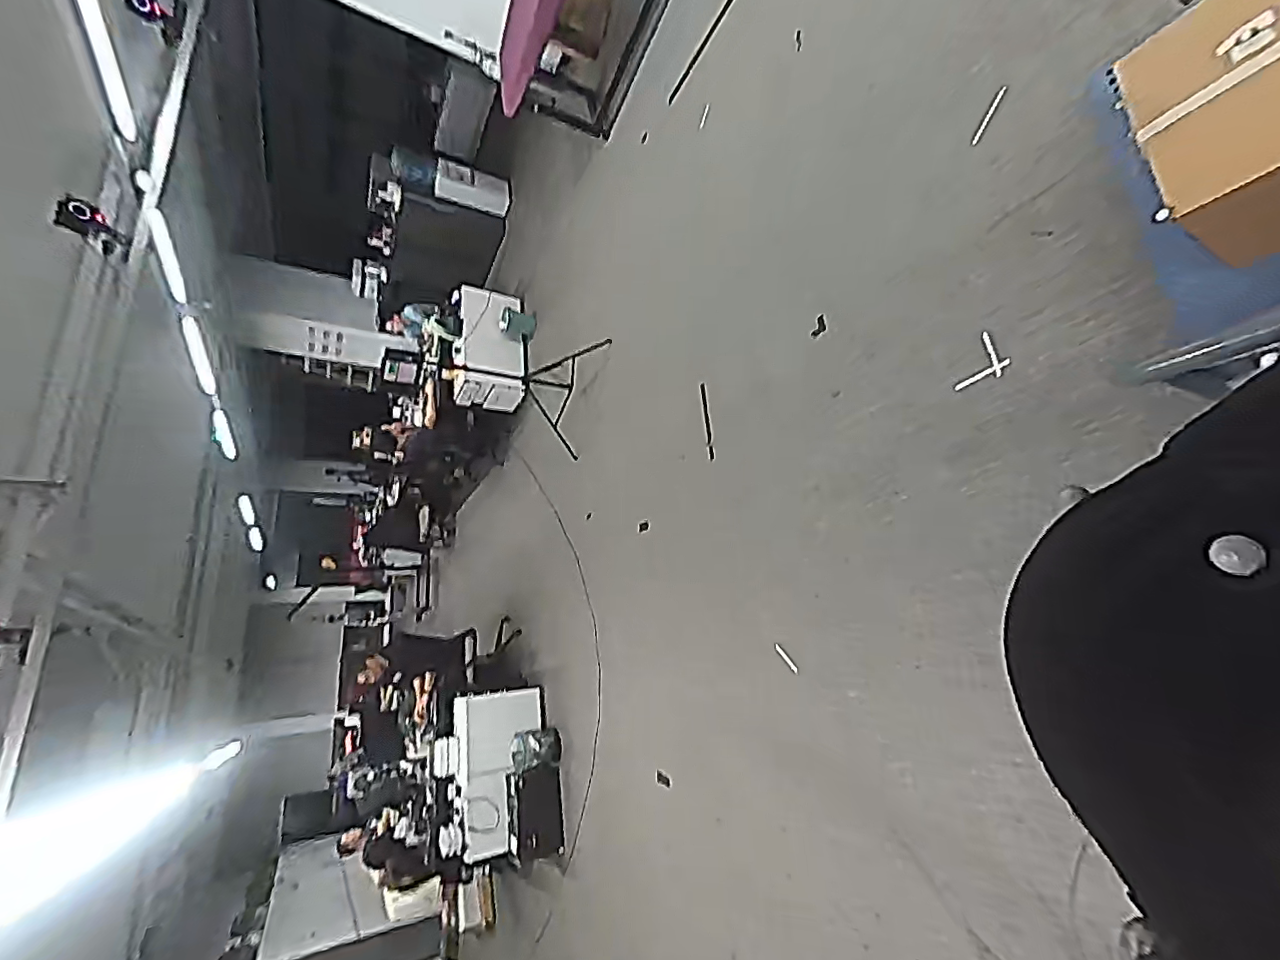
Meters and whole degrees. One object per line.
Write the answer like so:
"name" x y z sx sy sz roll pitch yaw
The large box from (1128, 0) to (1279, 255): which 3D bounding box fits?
"large box" 1.049 -0.601 0.768 0.408 0.320 0.320 -28 61 58
